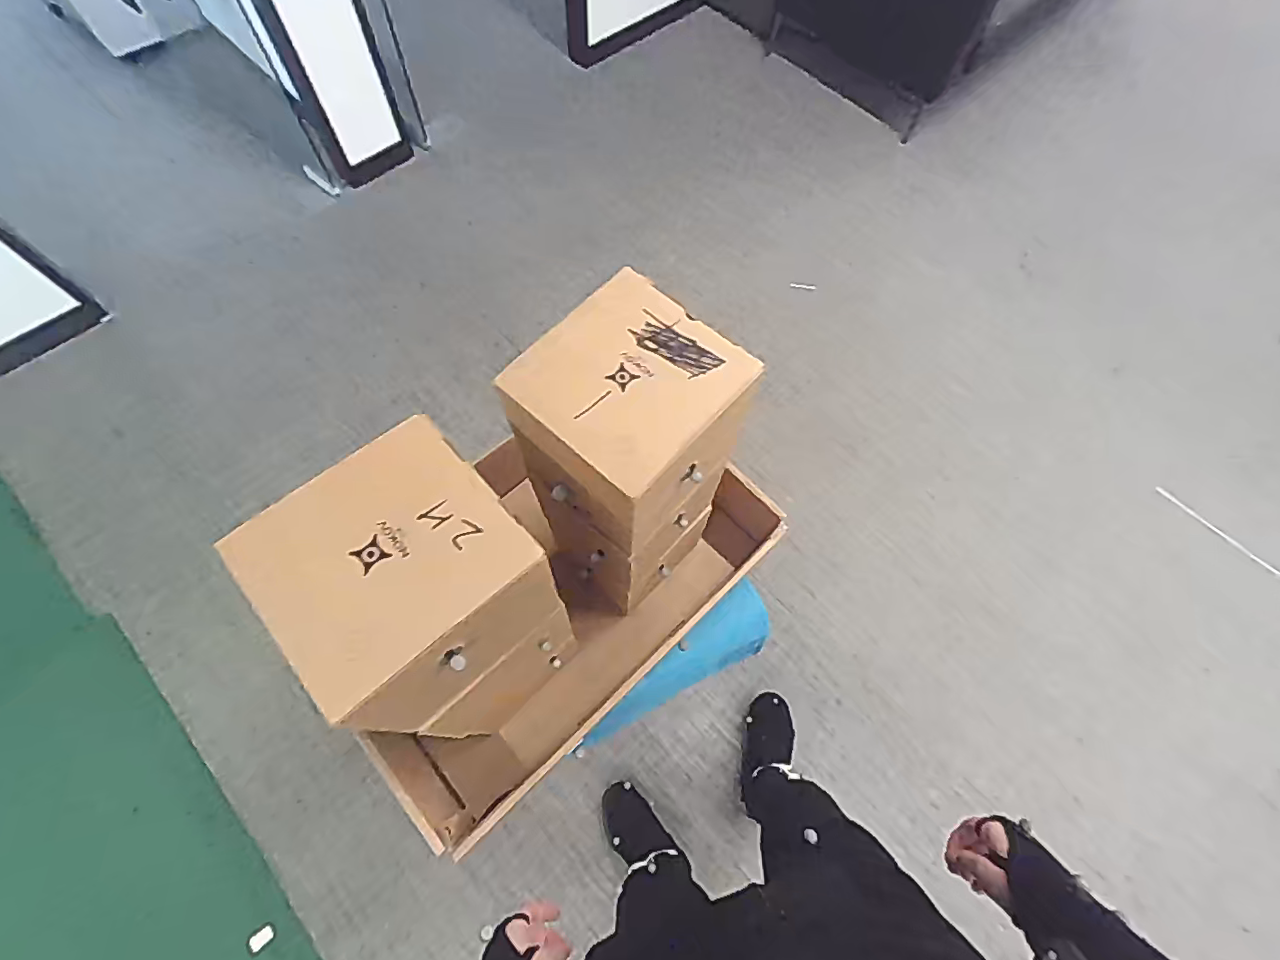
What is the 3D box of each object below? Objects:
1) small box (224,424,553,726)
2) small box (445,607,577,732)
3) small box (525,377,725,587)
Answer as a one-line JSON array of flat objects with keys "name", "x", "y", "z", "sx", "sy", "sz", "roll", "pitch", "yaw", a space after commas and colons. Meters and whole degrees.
[{"name": "small box", "x": -0.194, "y": 0.092, "z": 0.473, "sx": 0.179, "sy": 0.176, "sz": 0.168, "roll": -39, "pitch": 72, "yaw": -19}, {"name": "small box", "x": -0.205, "y": 0.234, "z": 0.769, "sx": 0.179, "sy": 0.176, "sz": 0.168, "roll": -41, "pitch": 72, "yaw": -20}, {"name": "small box", "x": -0.015, "y": 0.012, "z": 0.692, "sx": 0.168, "sy": 0.176, "sz": 0.179, "roll": 40, "pitch": 72, "yaw": 15}]
